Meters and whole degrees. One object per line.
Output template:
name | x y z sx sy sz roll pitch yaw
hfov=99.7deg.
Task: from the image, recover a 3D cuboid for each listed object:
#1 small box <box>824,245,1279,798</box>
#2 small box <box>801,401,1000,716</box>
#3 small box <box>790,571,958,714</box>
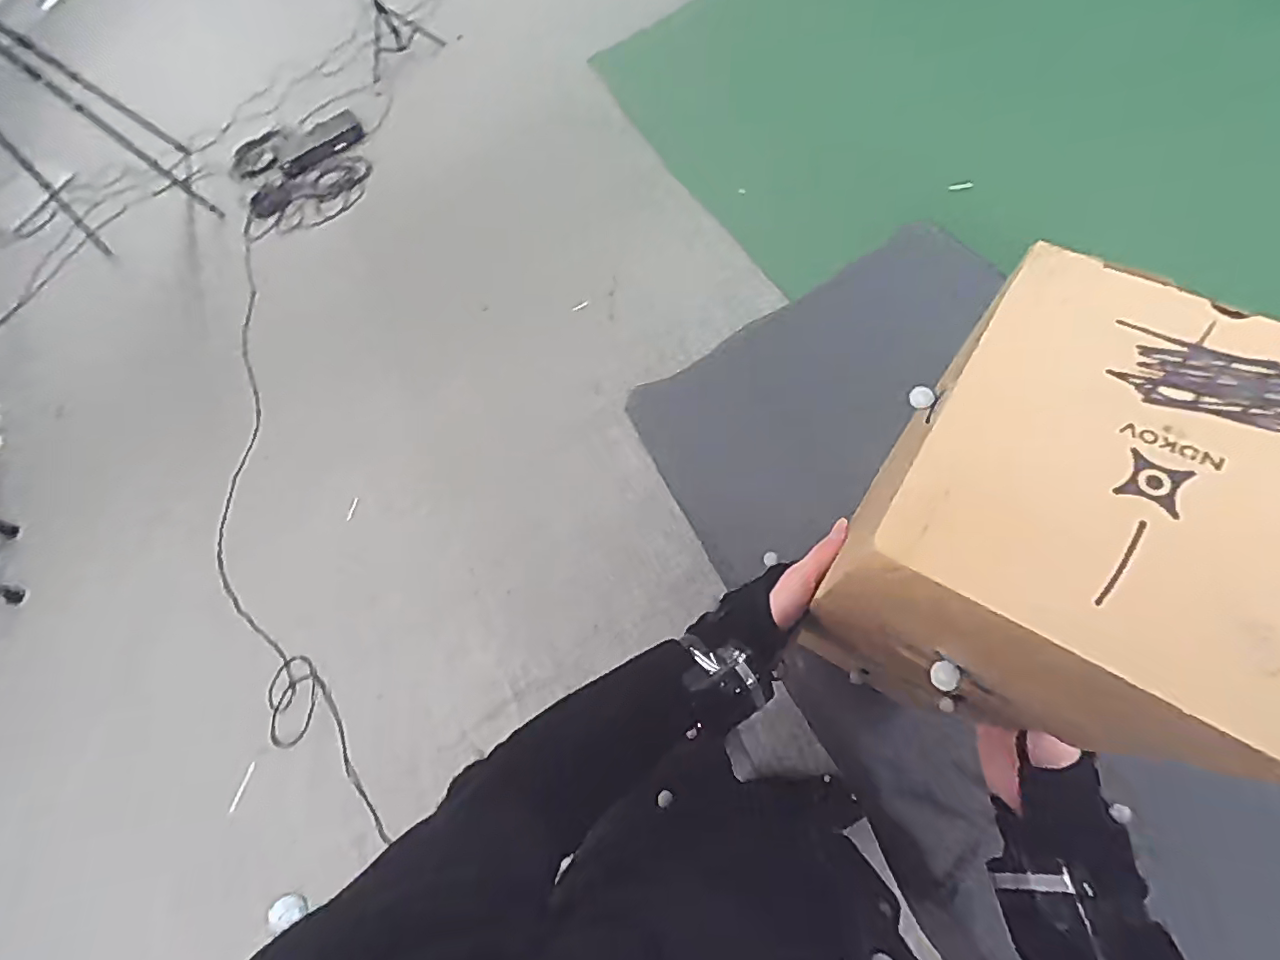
small box | 0.215 0.023 0.287 0.168 0.176 0.179 30 79 19
small box | 0.244 0.074 0.440 0.168 0.176 0.179 28 76 19
small box | 0.277 0.127 0.591 0.168 0.176 0.179 30 78 20
